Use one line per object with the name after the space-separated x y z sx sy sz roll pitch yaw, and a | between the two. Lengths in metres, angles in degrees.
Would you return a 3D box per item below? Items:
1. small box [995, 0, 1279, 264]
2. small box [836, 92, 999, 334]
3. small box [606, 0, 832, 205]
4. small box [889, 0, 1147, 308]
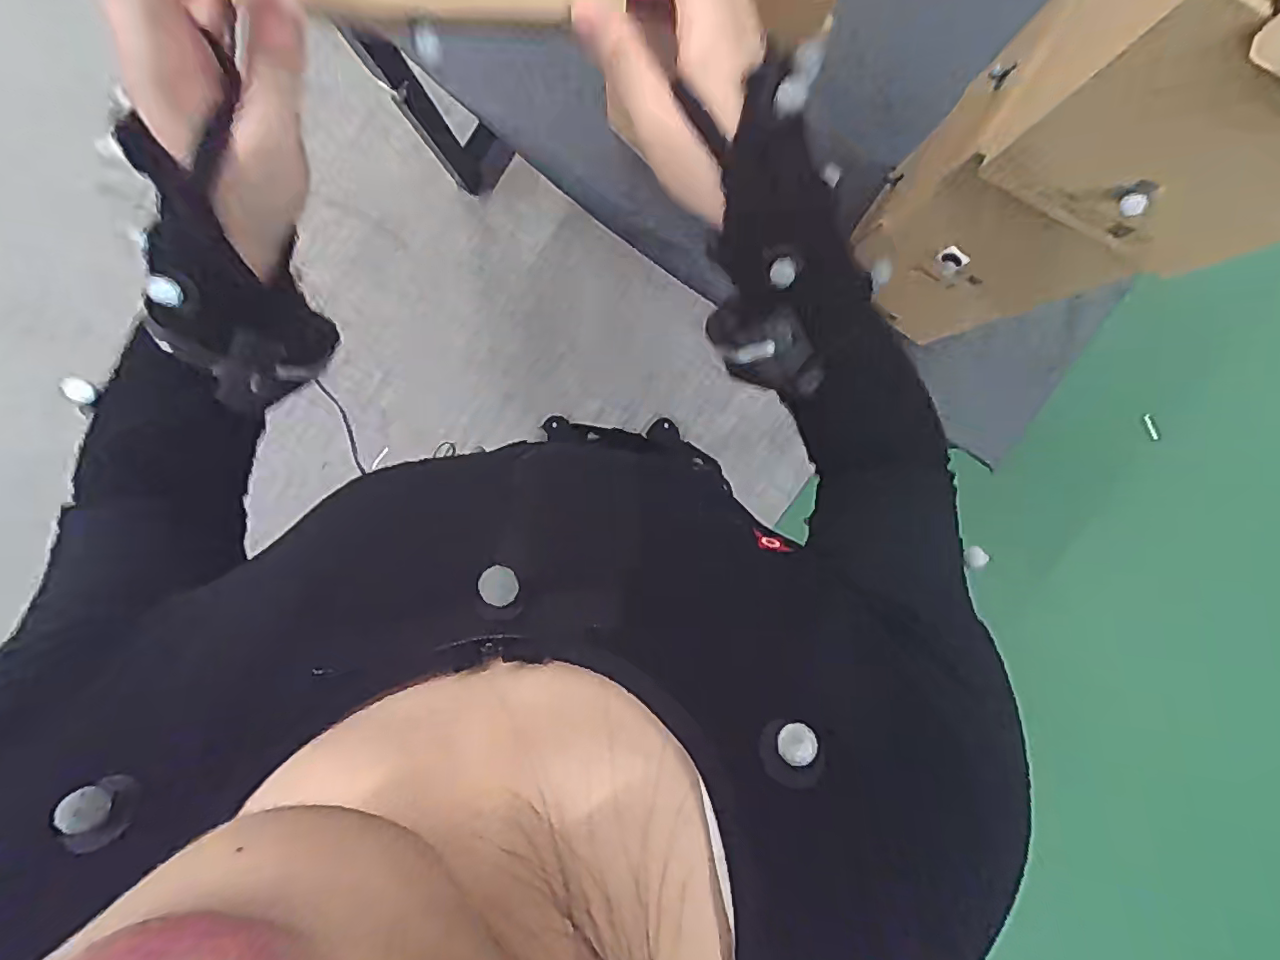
0.358 -0.263 0.313 0.168 0.176 0.179 27 93 -1 | small box
0.359 -0.298 0.639 0.168 0.176 0.179 34 92 -3 | small box
0.076 -0.466 0.622 0.168 0.176 0.179 43 92 -4 | small box
0.359 -0.283 0.478 0.168 0.176 0.179 31 94 -2 | small box
